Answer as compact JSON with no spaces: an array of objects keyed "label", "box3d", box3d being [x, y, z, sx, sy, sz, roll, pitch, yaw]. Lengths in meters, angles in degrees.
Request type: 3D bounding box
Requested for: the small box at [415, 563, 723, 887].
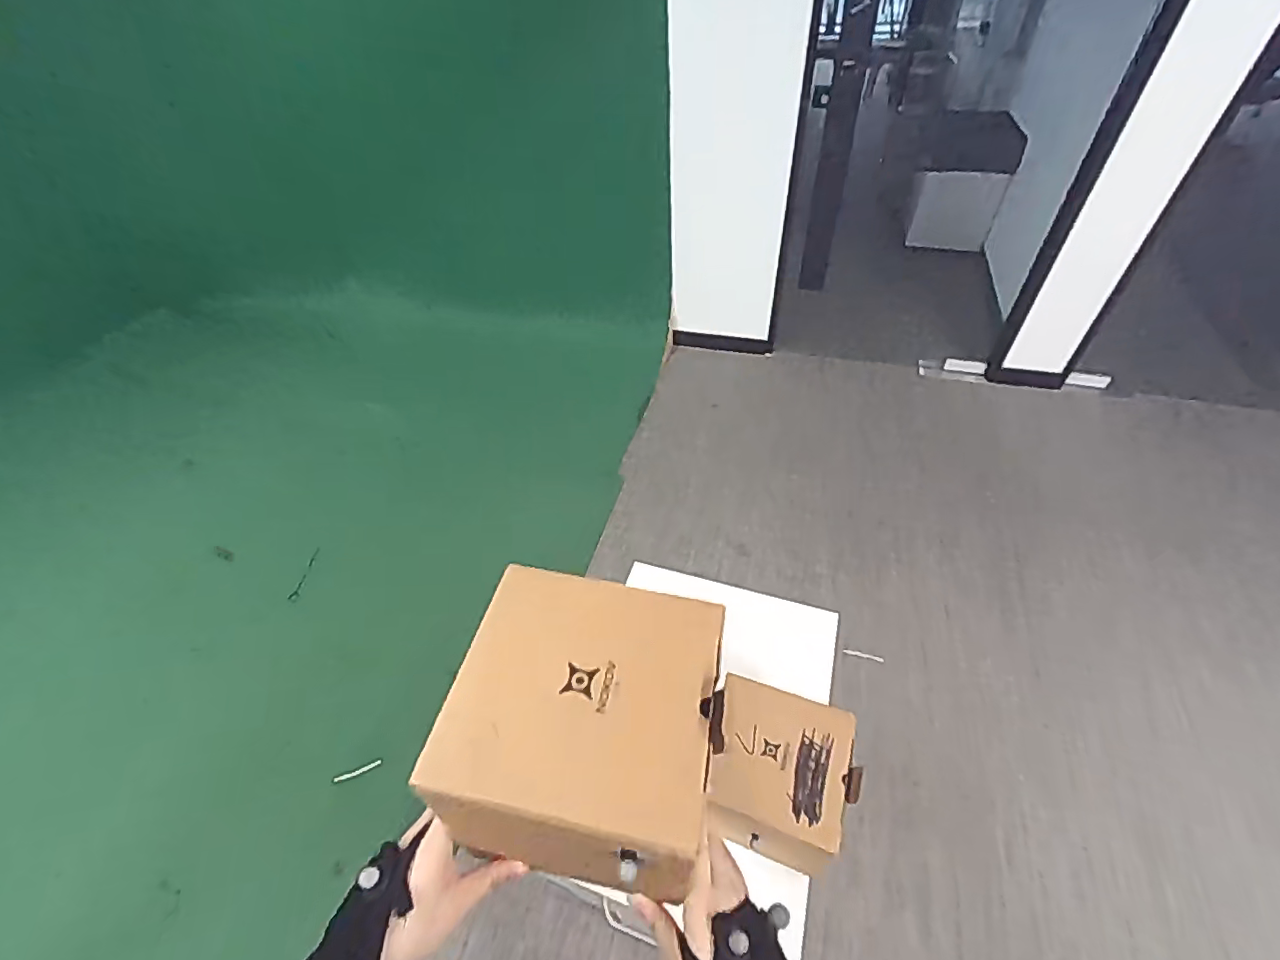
[{"label":"small box","box3d":[-0.039,0.192,0.425,0.179,0.176,0.168,9,45,7]}]
